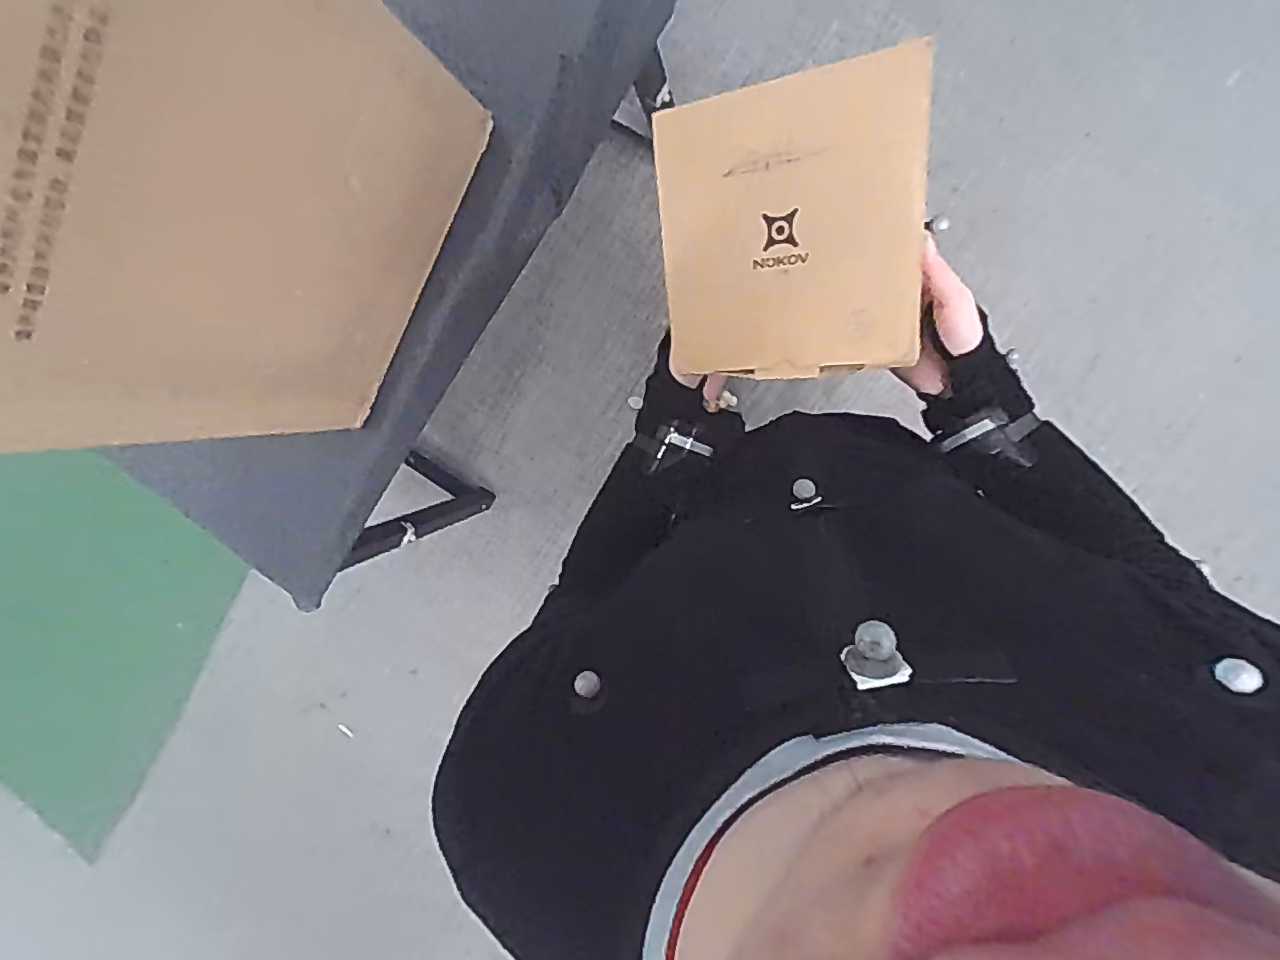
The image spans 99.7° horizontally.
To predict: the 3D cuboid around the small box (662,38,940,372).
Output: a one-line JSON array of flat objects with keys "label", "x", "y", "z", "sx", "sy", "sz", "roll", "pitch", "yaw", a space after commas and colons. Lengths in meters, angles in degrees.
[{"label": "small box", "x": 0.129, "y": -0.186, "z": 0.417, "sx": 0.168, "sy": 0.176, "sz": 0.179, "roll": 3, "pitch": 110, "yaw": 25}]
